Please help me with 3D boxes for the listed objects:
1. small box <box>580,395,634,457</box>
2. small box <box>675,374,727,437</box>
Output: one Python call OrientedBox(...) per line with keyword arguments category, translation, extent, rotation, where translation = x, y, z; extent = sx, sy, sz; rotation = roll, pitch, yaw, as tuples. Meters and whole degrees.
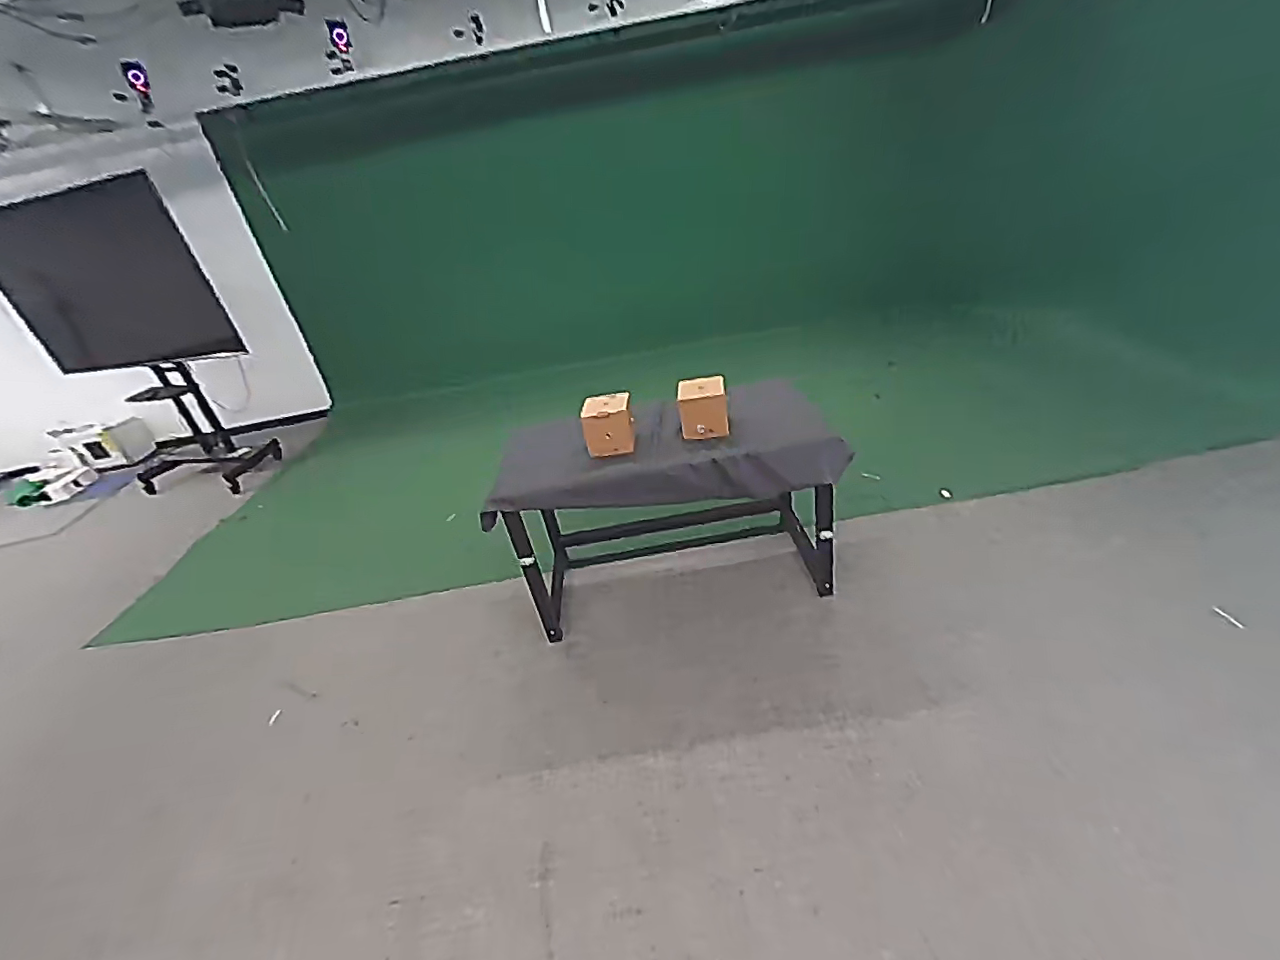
OrientedBox(category="small box", translation=(-0.116, -0.194, 2.015), extent=(0.168, 0.176, 0.179), rotation=(-10, 29, 6))
OrientedBox(category="small box", translation=(0.228, -0.274, 1.993), extent=(0.168, 0.176, 0.179), rotation=(-7, 30, 12))
